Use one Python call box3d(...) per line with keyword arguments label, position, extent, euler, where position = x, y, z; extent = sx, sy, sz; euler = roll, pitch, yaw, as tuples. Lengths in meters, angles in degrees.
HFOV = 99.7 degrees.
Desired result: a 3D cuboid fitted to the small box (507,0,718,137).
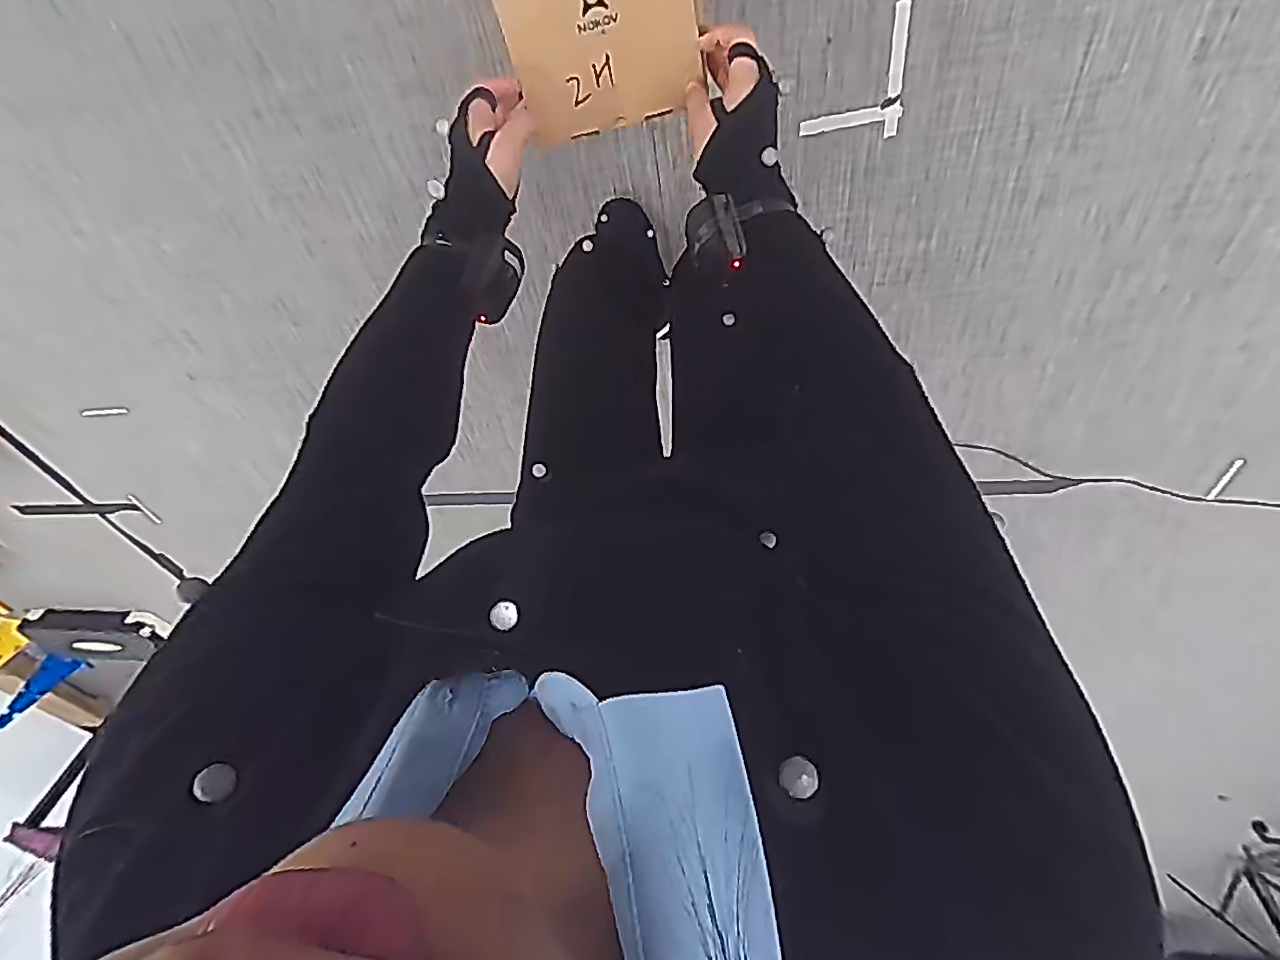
box3d(label="small box", position=(-0.022, -0.452, 0.499), extent=(0.168, 0.176, 0.179), euler=(-6, 134, 14))
